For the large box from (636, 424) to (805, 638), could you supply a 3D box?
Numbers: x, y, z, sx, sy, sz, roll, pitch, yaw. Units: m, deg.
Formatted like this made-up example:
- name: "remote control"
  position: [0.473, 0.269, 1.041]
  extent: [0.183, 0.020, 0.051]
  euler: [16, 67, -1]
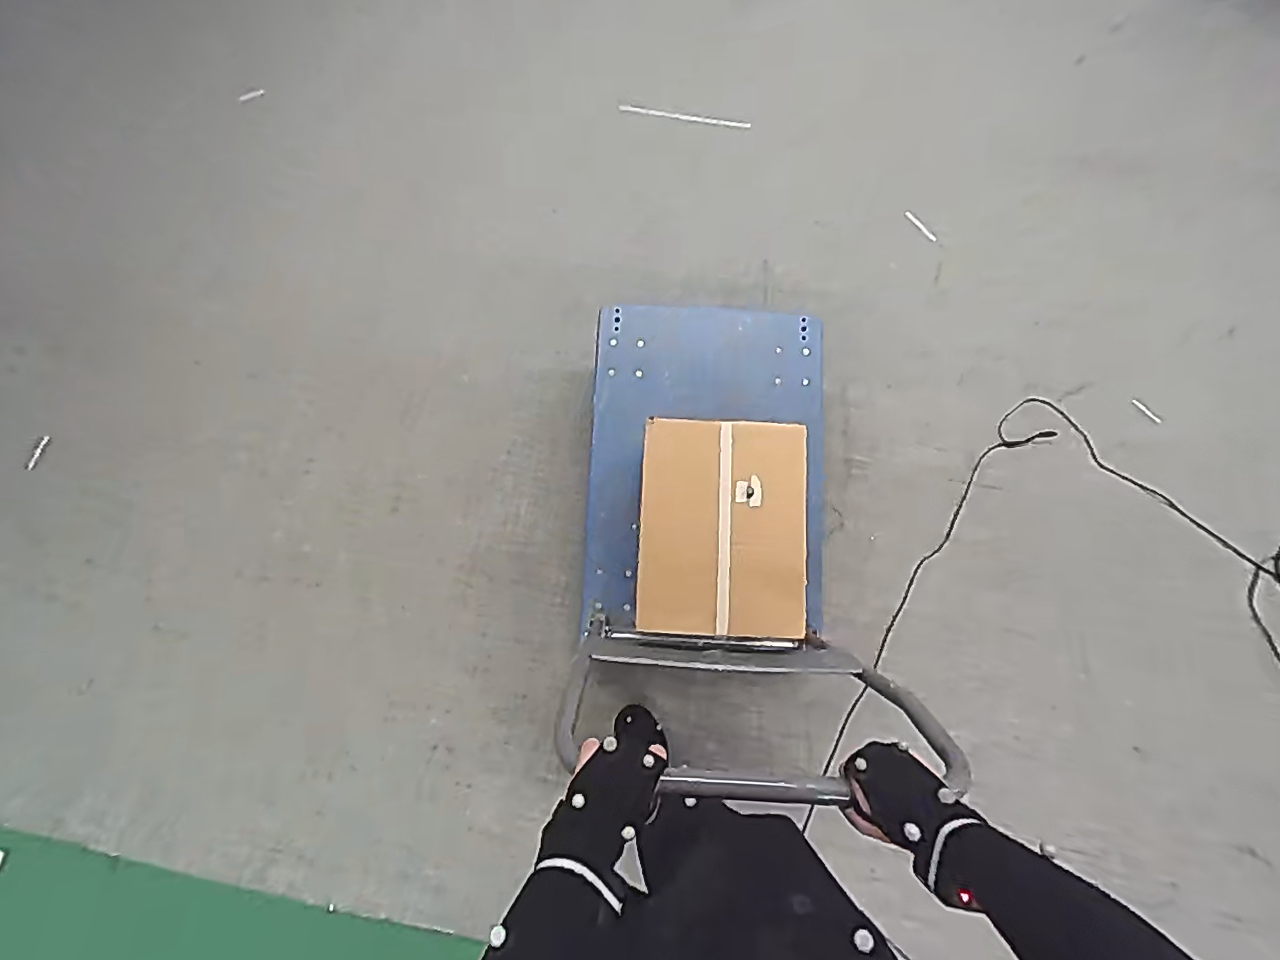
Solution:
- name: "large box"
  position: [0.155, 0.116, 1.164]
  extent: [0.320, 0.320, 0.408]
  euler: [2, 80, 0]
